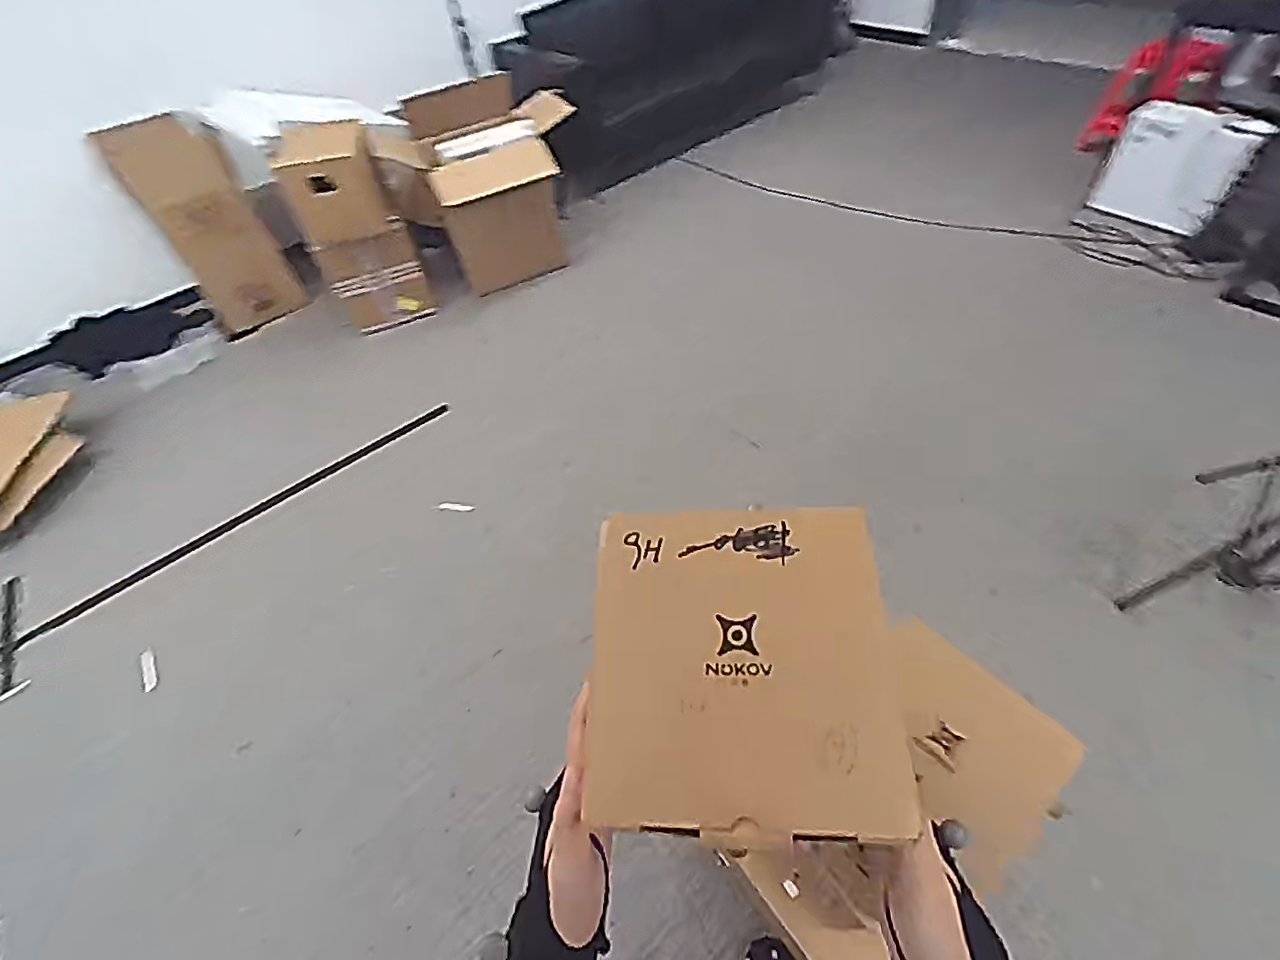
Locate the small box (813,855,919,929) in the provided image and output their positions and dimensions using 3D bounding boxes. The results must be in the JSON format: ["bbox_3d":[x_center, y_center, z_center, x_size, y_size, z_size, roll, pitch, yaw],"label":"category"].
[{"bbox_3d":[0.284,0.387,0.649,0.179,0.176,0.168,-35,55,-18],"label":"small box"}]

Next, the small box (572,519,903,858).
[{"bbox_3d":[0.057,0.141,0.374,0.168,0.176,0.179,-3,62,6],"label":"small box"}]

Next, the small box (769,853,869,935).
[{"bbox_3d":[0.318,0.602,0.893,0.168,0.176,0.179,-36,56,-19],"label":"small box"}]

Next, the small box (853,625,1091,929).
[{"bbox_3d":[0.268,0.282,0.523,0.179,0.176,0.168,-37,55,-19],"label":"small box"}]
